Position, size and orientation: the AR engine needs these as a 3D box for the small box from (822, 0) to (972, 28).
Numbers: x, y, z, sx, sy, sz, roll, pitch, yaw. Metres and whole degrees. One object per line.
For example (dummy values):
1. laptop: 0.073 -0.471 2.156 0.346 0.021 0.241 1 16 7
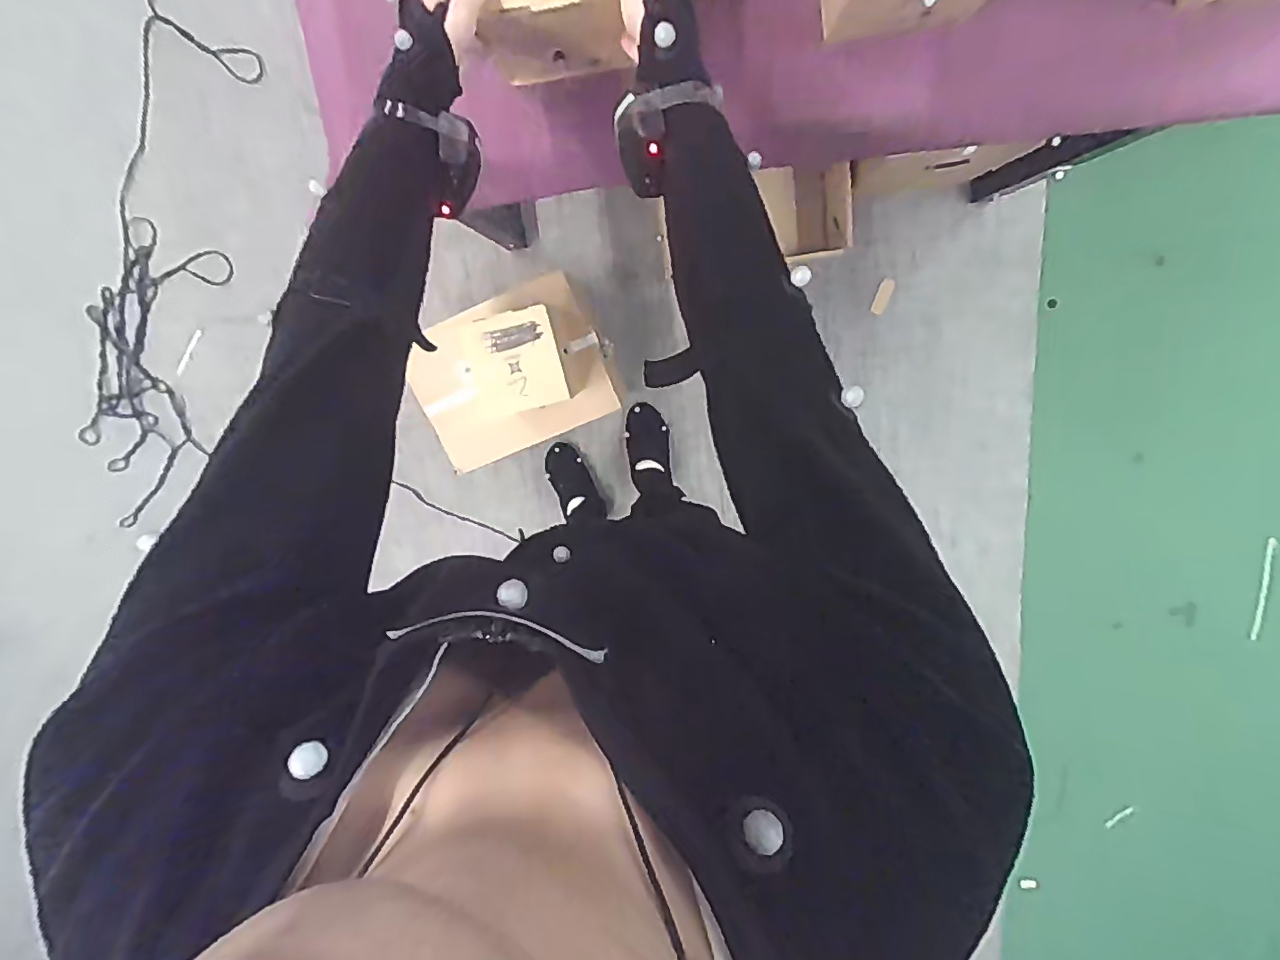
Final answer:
1. small box: 0.270 -0.569 0.505 0.168 0.176 0.179 -9 103 4

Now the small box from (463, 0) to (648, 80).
1. small box: -0.084 -0.527 0.521 0.168 0.176 0.179 -7 110 3
